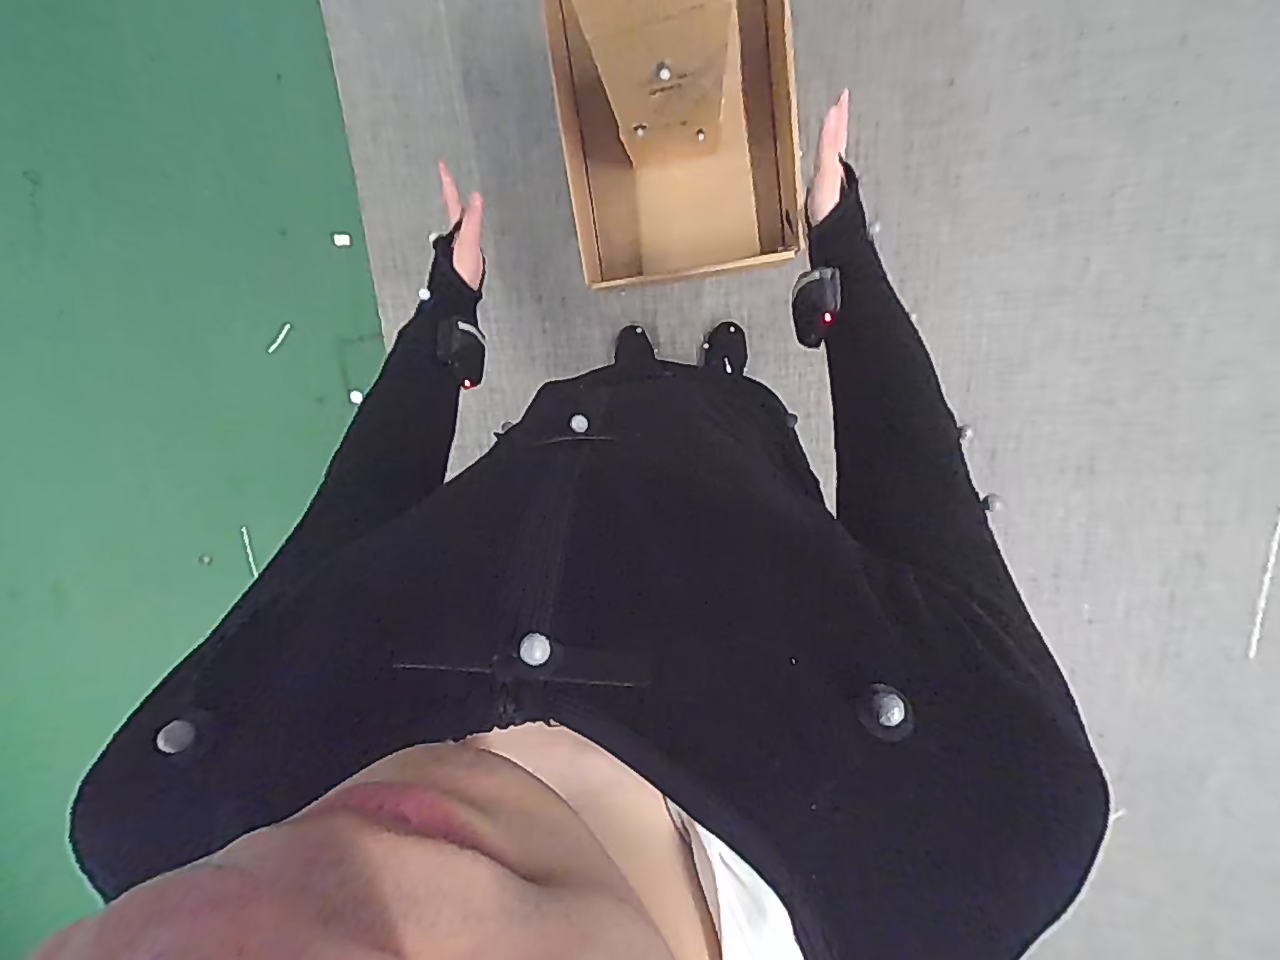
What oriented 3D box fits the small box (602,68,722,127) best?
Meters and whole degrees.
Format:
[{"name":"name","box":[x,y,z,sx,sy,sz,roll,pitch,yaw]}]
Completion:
[{"name":"small box","box":[0.033,-0.643,0.788,0.168,0.176,0.179,-4,103,7]}]

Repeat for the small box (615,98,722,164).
[{"name":"small box","box":[0.048,-0.678,0.948,0.179,0.176,0.168,-6,103,7]}]

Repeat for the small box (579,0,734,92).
[{"name":"small box","box":[0.016,-0.599,0.630,0.168,0.176,0.179,-6,104,8]}]
